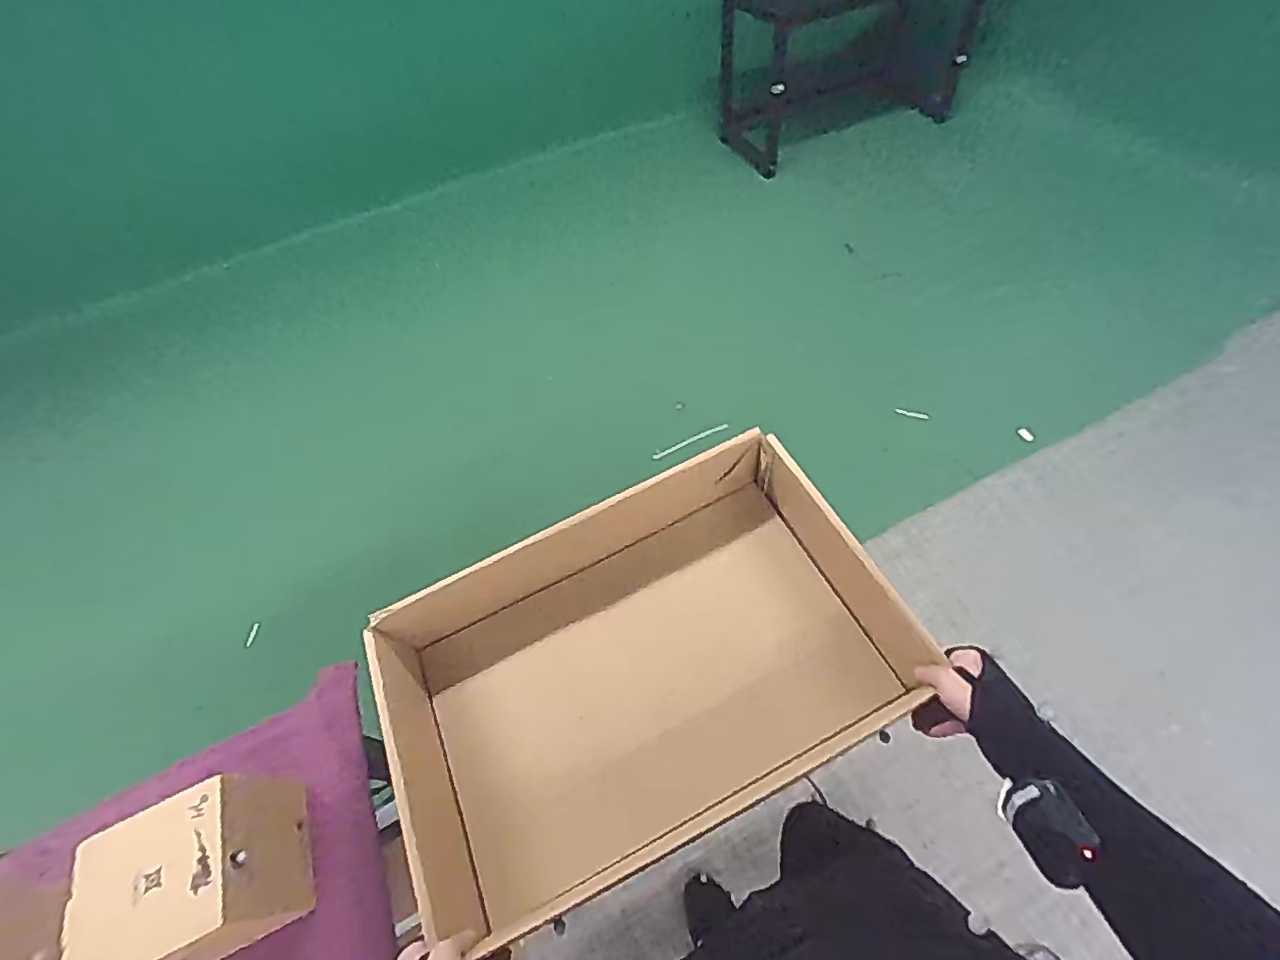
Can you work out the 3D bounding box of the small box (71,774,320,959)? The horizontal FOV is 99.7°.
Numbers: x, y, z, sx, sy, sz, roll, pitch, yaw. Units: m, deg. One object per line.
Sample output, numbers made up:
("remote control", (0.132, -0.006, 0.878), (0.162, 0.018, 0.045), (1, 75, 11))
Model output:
("small box", (-0.548, 0.504, 0.687), (0.179, 0.176, 0.168), (-25, 57, -7))
